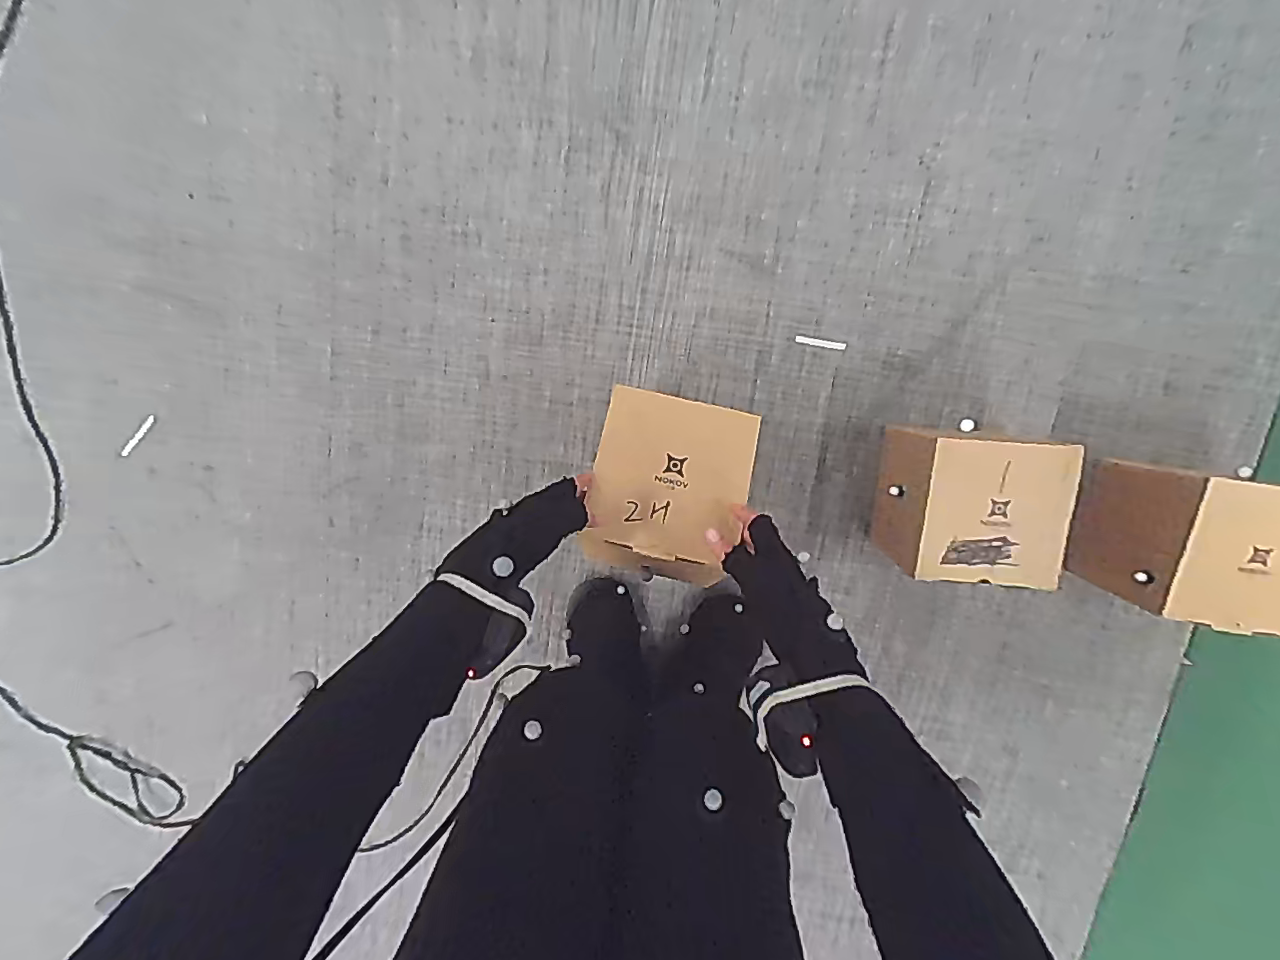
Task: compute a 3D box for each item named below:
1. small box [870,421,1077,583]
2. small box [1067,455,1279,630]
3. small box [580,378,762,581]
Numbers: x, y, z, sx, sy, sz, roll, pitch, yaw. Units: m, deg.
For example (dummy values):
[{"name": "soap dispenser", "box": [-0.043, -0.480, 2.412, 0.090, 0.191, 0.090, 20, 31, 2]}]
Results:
[{"name": "small box", "box": [0.421, 0.019, 0.718, 0.168, 0.176, 0.179, 4, 100, 4]}, {"name": "small box", "box": [0.710, 0.069, 0.705, 0.168, 0.176, 0.179, 8, 101, 4]}, {"name": "small box", "box": [0.033, 0.009, 0.643, 0.168, 0.176, 0.179, 13, 73, 2]}]
